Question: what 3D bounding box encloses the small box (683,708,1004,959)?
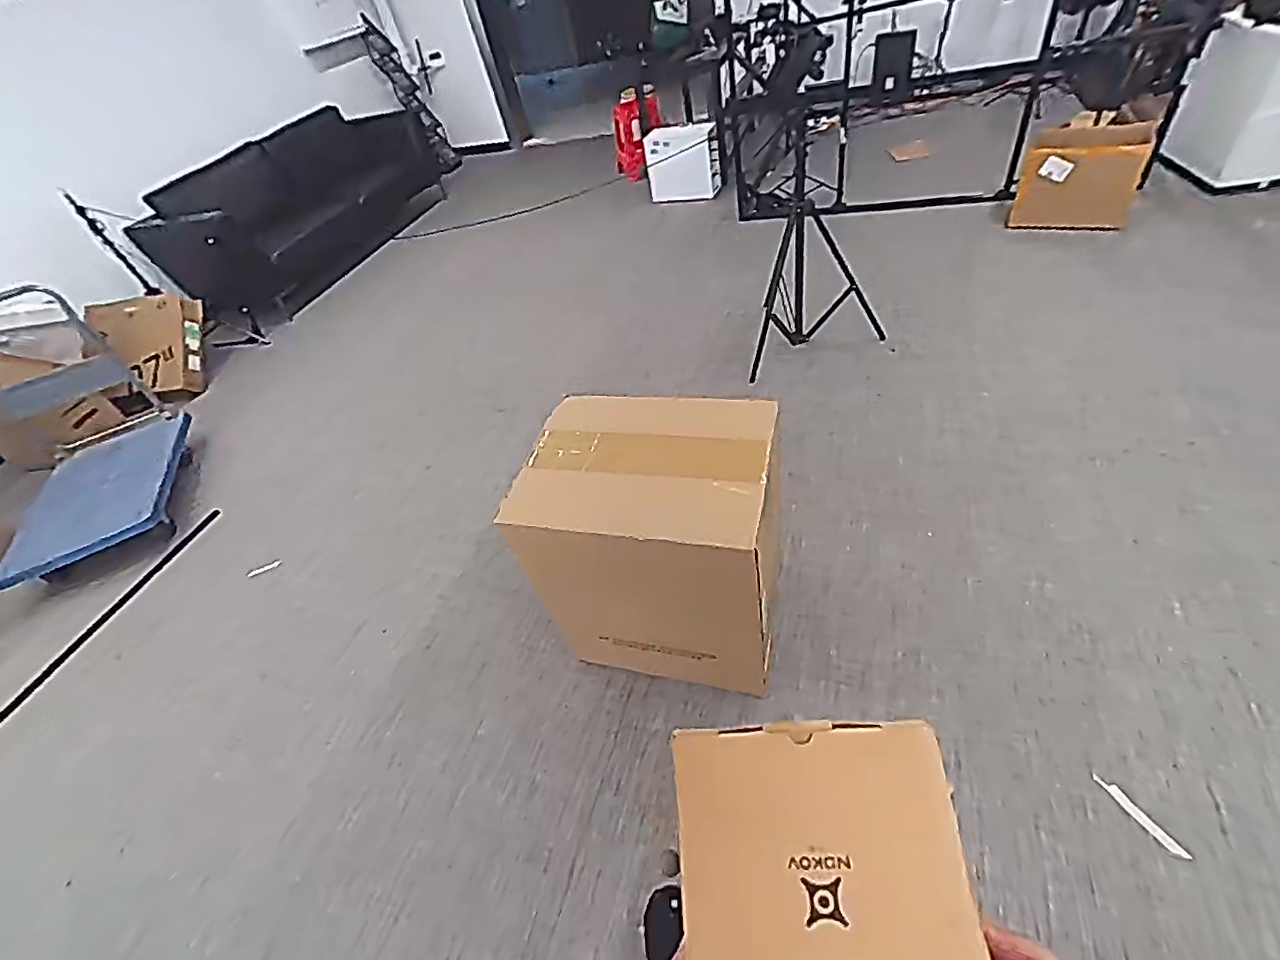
[{"bbox_3d":[0.123,0.262,0.380,0.168,0.176,0.179,-5,62,7],"label":"small box"}]
